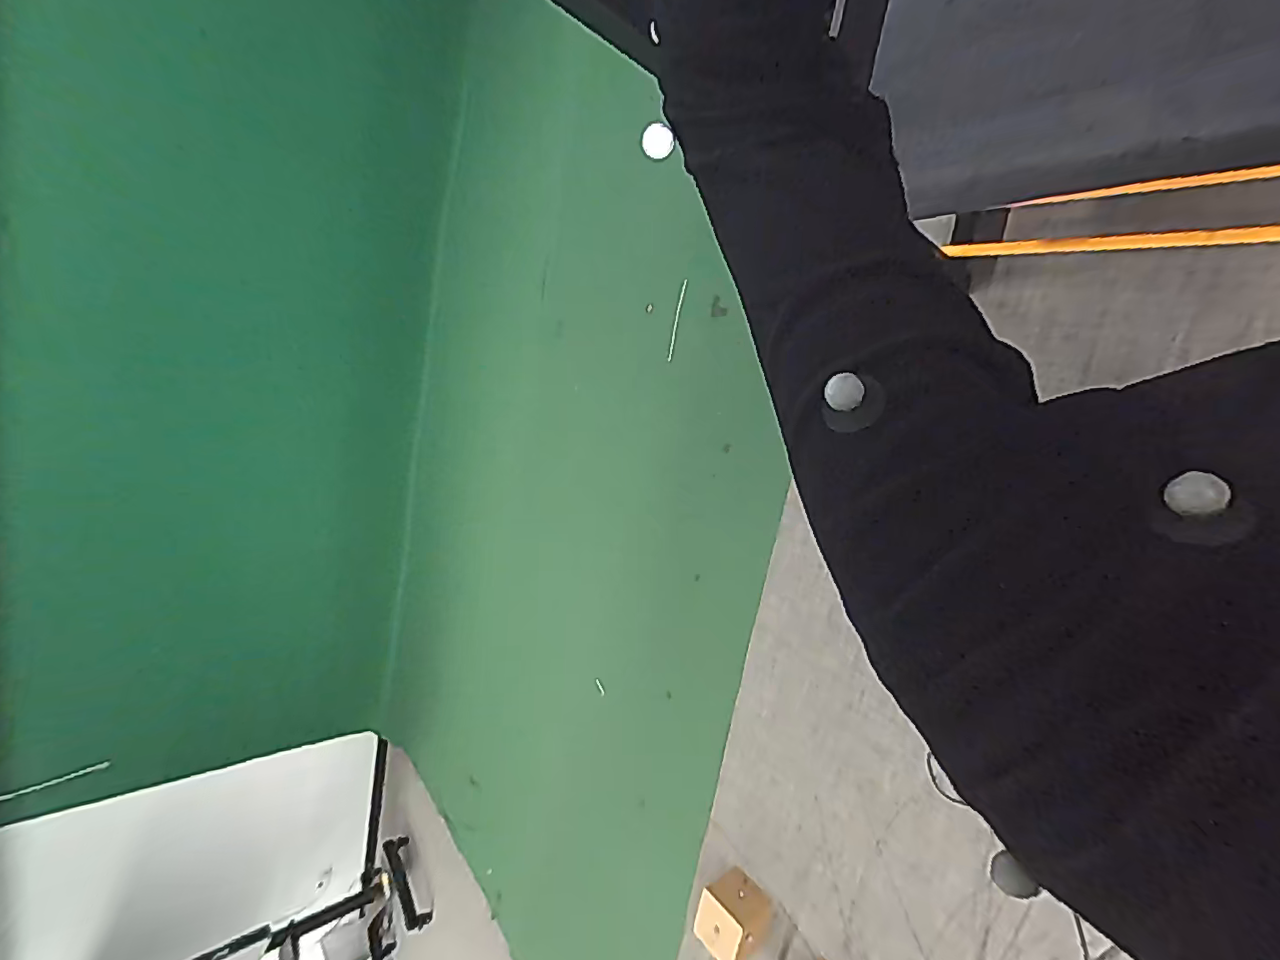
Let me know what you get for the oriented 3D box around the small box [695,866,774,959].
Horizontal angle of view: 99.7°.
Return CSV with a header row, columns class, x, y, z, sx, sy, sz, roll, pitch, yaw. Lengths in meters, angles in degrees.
class,x,y,z,sx,sy,sz,roll,pitch,yaw
small box,0.311,1.415,1.756,0.168,0.176,0.179,22,104,47
